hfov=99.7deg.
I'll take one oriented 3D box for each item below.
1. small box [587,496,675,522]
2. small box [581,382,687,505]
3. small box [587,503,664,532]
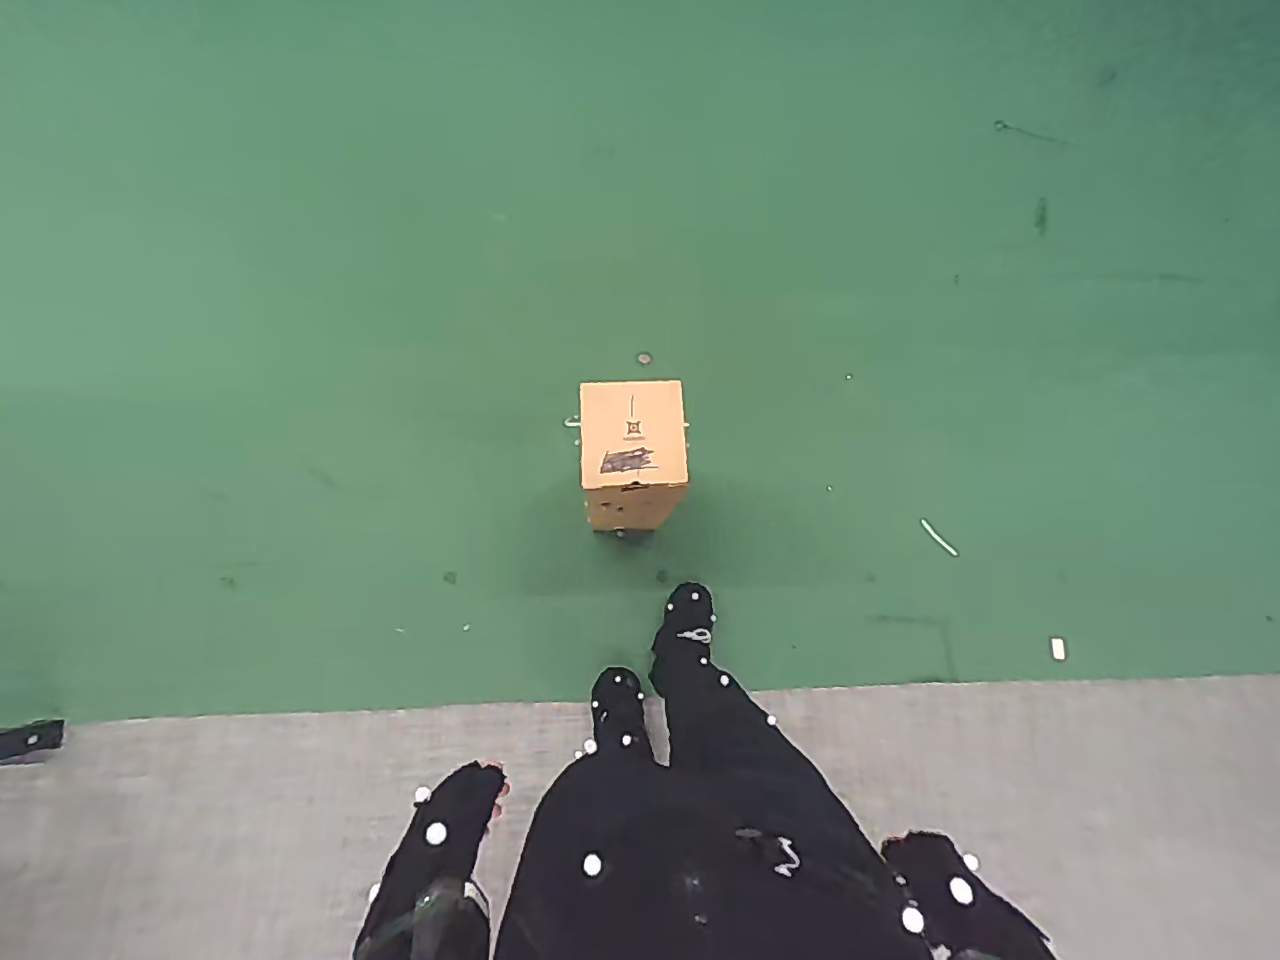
[{"bbox_3d":[-0.022,-0.016,1.089,0.168,0.176,0.179,0,76,-2],"label":"small box"},{"bbox_3d":[-0.013,-0.054,0.929,0.168,0.176,0.179,-2,76,-3],"label":"small box"},{"bbox_3d":[-0.033,0.018,1.229,0.168,0.176,0.179,0,77,-1],"label":"small box"}]
